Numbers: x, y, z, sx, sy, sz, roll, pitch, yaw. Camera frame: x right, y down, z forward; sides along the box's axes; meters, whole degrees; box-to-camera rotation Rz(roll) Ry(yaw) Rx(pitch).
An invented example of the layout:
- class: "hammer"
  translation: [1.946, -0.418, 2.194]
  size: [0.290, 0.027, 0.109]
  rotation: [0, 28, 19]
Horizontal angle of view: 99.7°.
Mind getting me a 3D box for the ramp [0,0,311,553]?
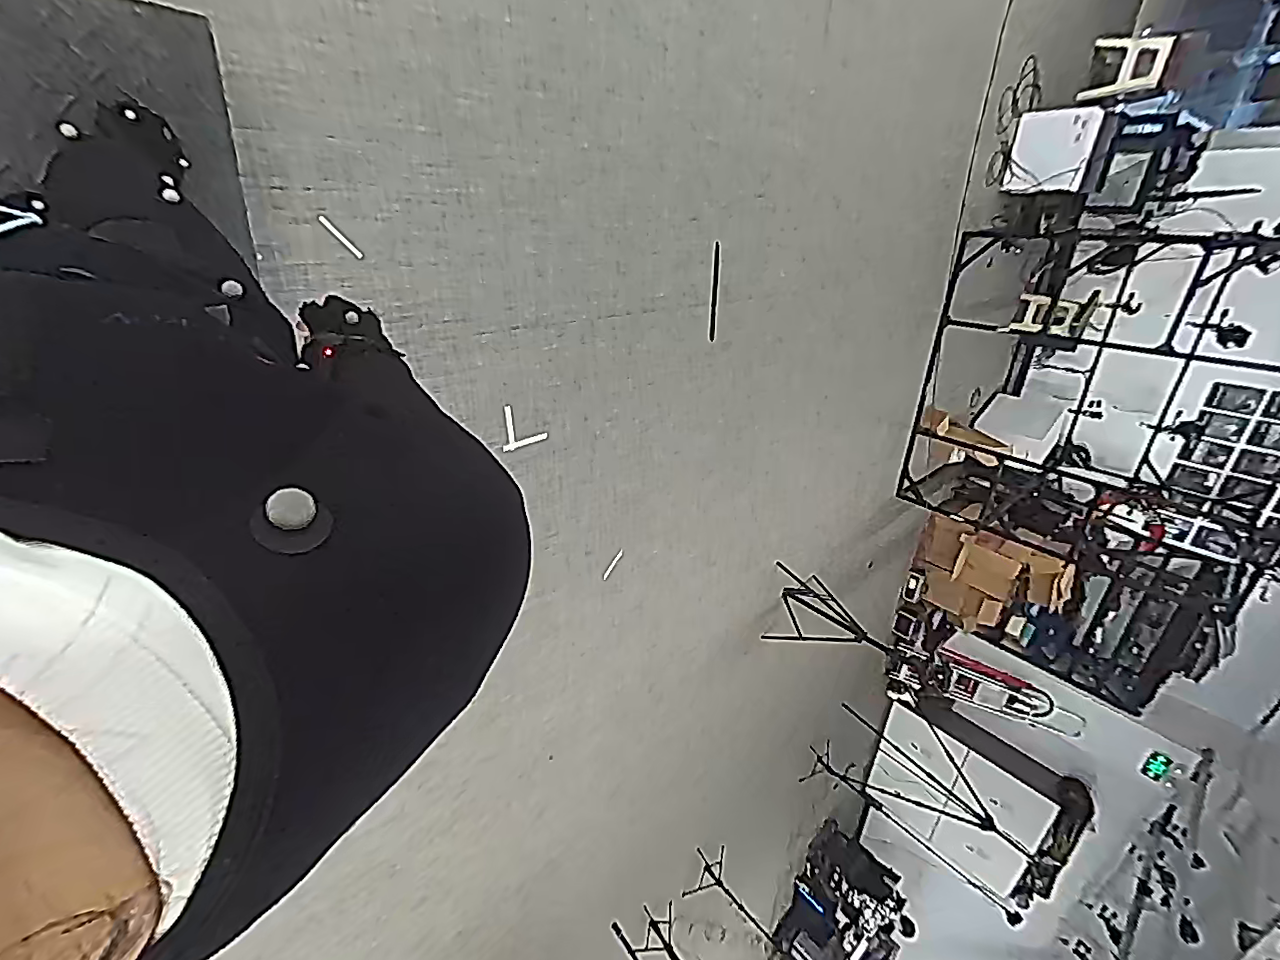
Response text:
- class: "ramp"
  translation: [-1.003, -0.316, 1.062]
  size: [0.509, 0.206, 0.991]
  rotation: [-21, 124, -37]
